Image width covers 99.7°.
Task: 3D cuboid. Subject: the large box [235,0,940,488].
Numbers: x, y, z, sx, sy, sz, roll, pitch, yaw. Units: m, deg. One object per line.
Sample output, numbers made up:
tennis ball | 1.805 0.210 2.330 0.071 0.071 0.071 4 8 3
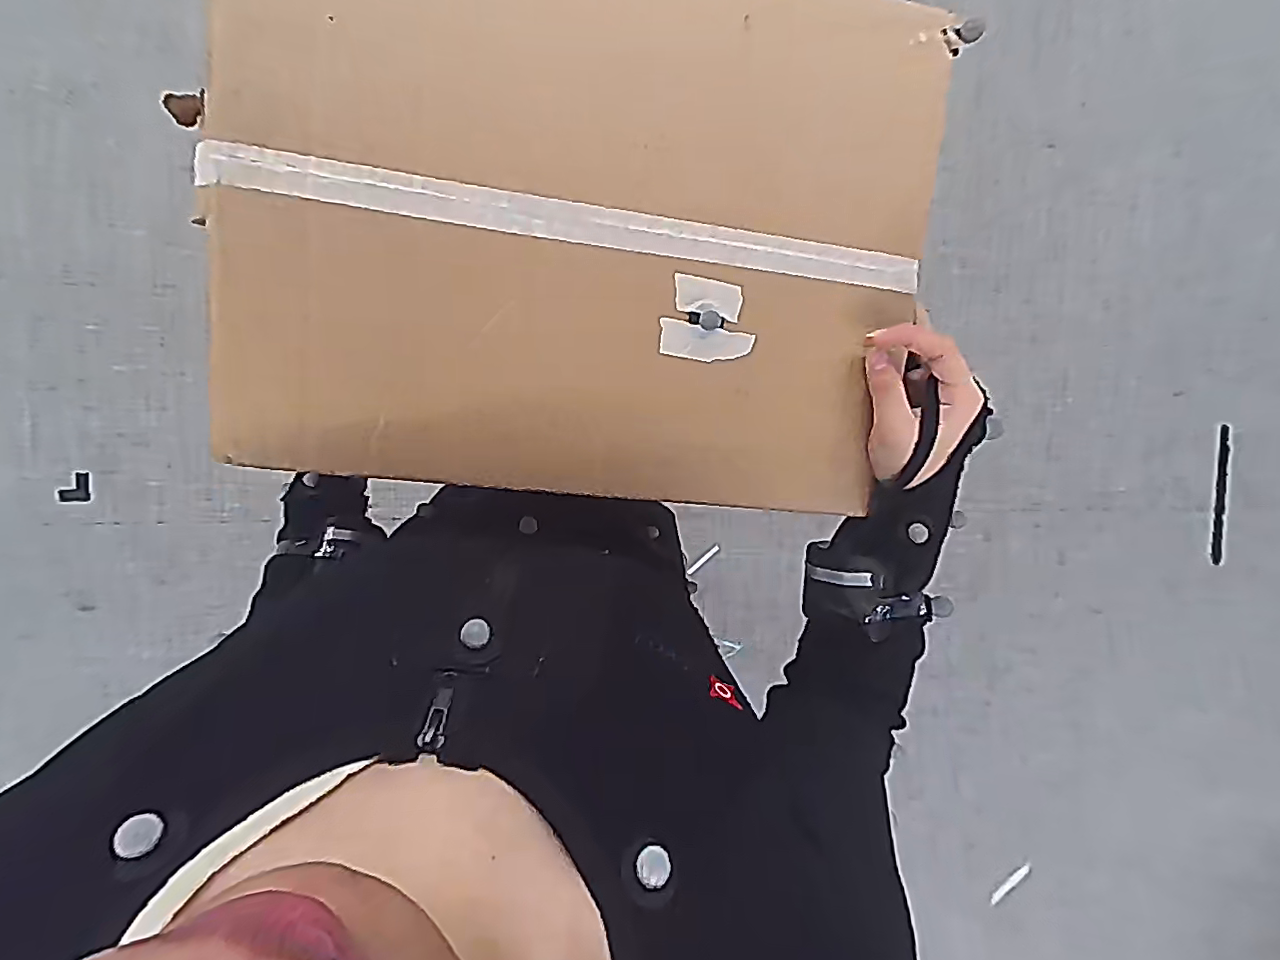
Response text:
large box | -0.046 -0.178 0.466 0.408 0.320 0.320 5 98 -11
